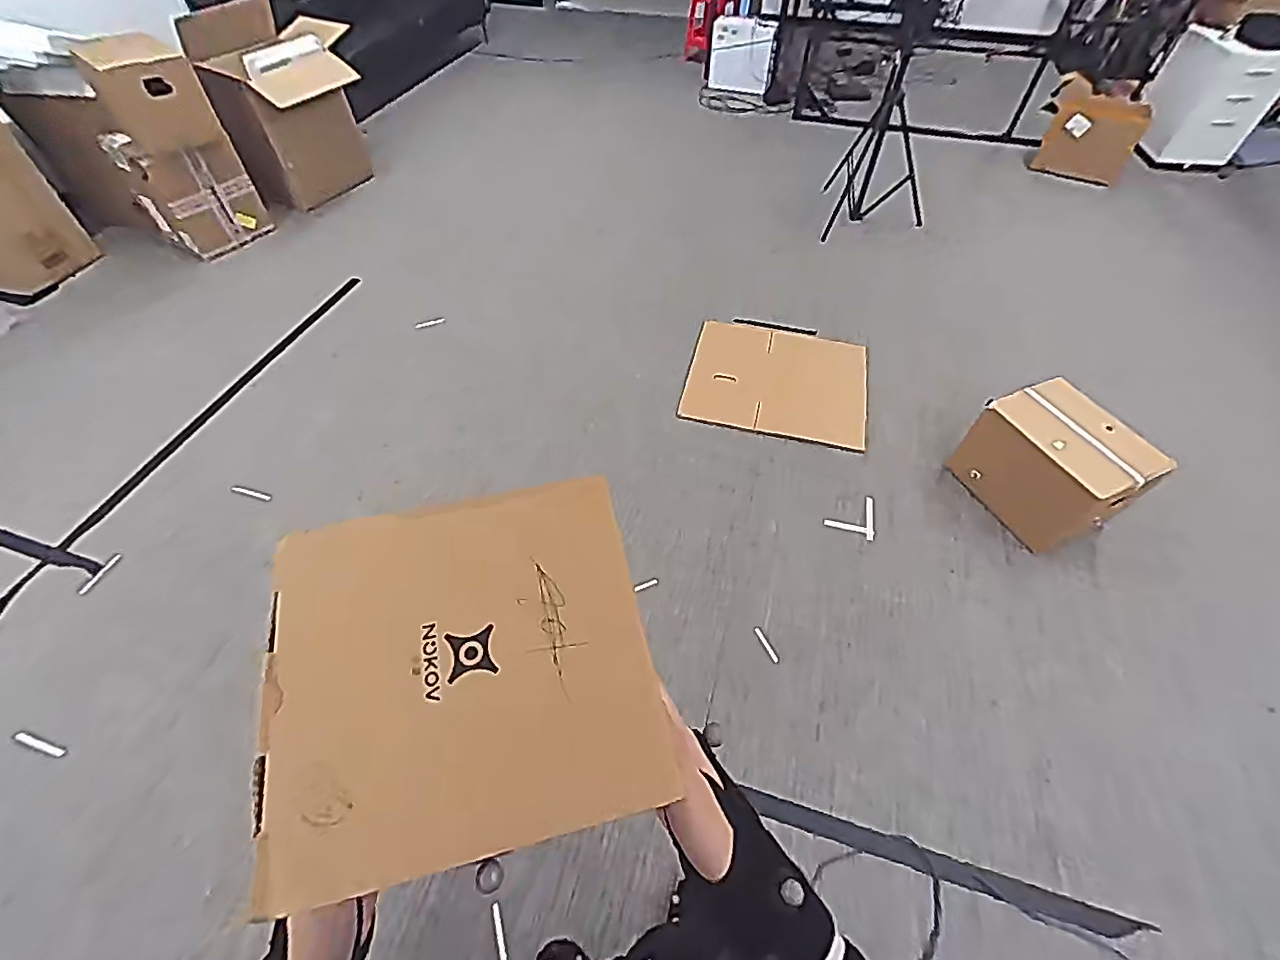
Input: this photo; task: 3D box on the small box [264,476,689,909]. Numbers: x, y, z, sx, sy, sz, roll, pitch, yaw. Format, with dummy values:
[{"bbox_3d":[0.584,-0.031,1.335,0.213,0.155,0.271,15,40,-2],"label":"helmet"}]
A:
[{"bbox_3d":[-0.084,0.122,0.327,0.179,0.176,0.168,-11,62,-10],"label":"small box"}]
